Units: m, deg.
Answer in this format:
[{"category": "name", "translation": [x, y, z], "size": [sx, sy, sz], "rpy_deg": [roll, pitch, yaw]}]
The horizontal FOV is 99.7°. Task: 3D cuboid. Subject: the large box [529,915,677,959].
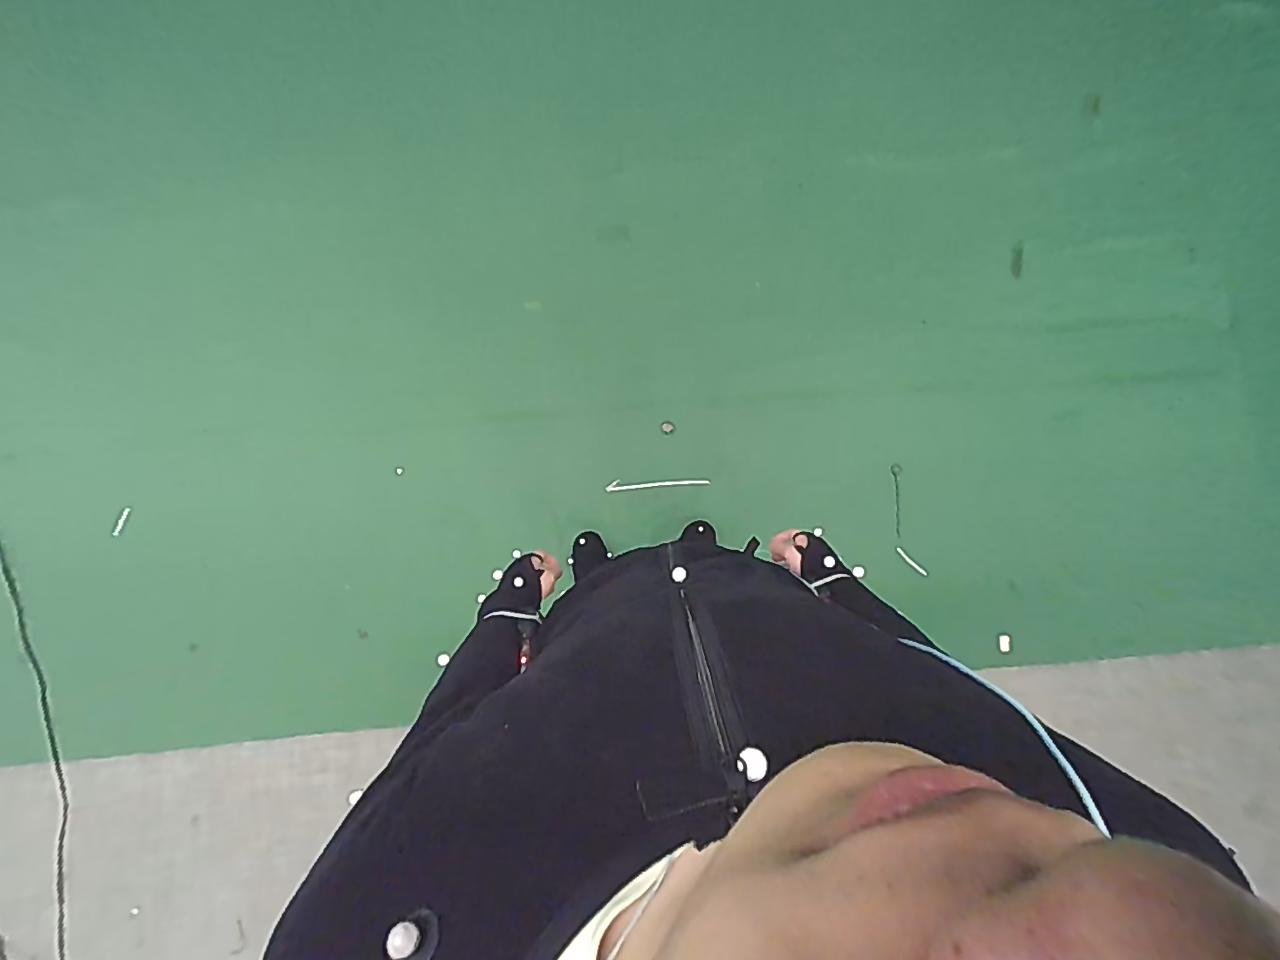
[{"category": "large box", "translation": [-0.088, 1.427, 1.415], "size": [0.408, 0.320, 0.320], "rpy_deg": [-6, 87, -3]}]
